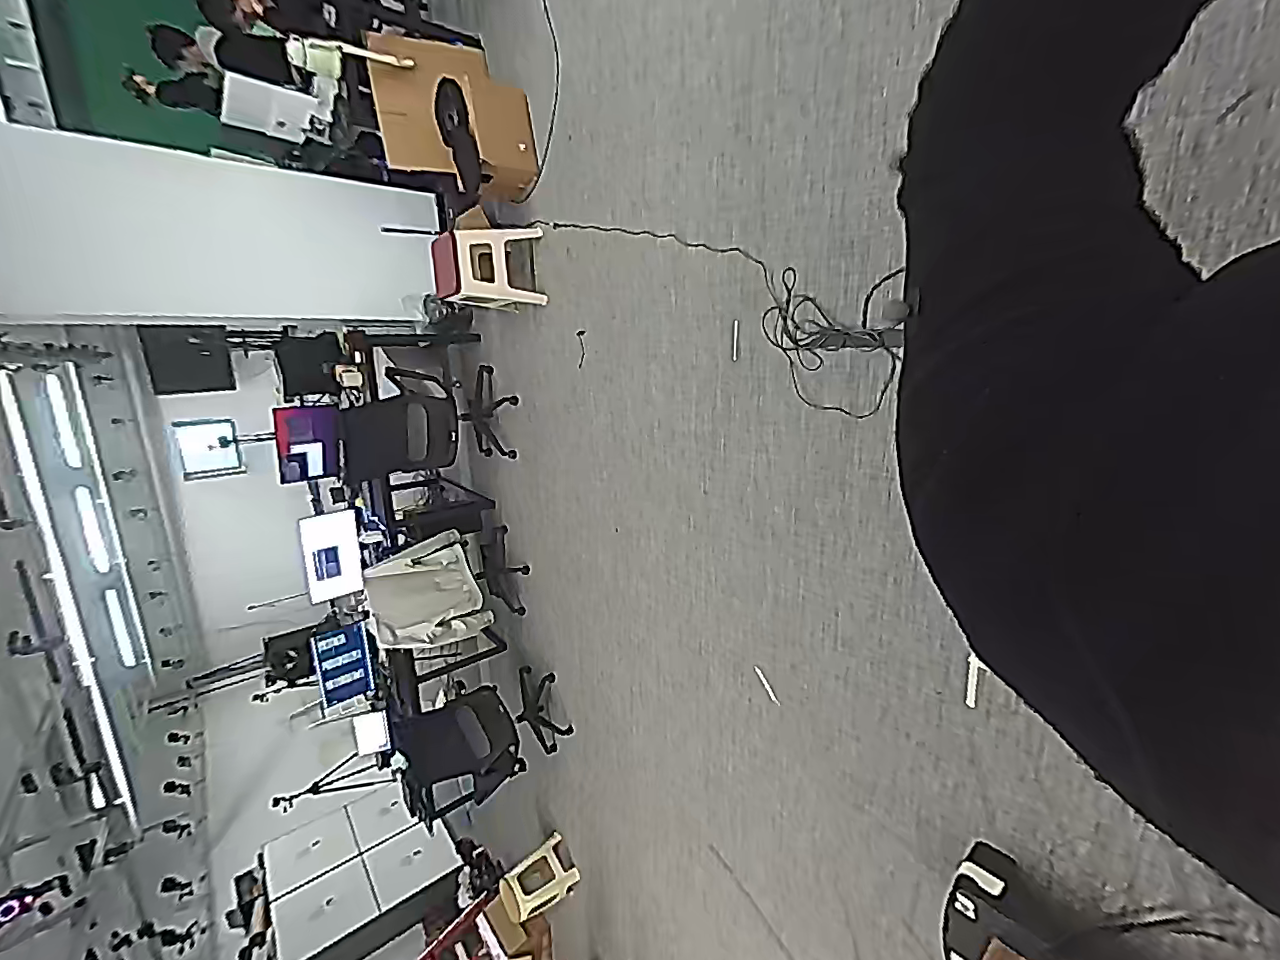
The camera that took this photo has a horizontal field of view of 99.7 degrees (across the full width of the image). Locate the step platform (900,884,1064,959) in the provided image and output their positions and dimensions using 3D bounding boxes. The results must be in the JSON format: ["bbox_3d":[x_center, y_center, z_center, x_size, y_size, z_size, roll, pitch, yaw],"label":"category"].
[{"bbox_3d":[0.940,1.240,1.156,0.684,0.204,0.286,14,111,50],"label":"step platform"}]
